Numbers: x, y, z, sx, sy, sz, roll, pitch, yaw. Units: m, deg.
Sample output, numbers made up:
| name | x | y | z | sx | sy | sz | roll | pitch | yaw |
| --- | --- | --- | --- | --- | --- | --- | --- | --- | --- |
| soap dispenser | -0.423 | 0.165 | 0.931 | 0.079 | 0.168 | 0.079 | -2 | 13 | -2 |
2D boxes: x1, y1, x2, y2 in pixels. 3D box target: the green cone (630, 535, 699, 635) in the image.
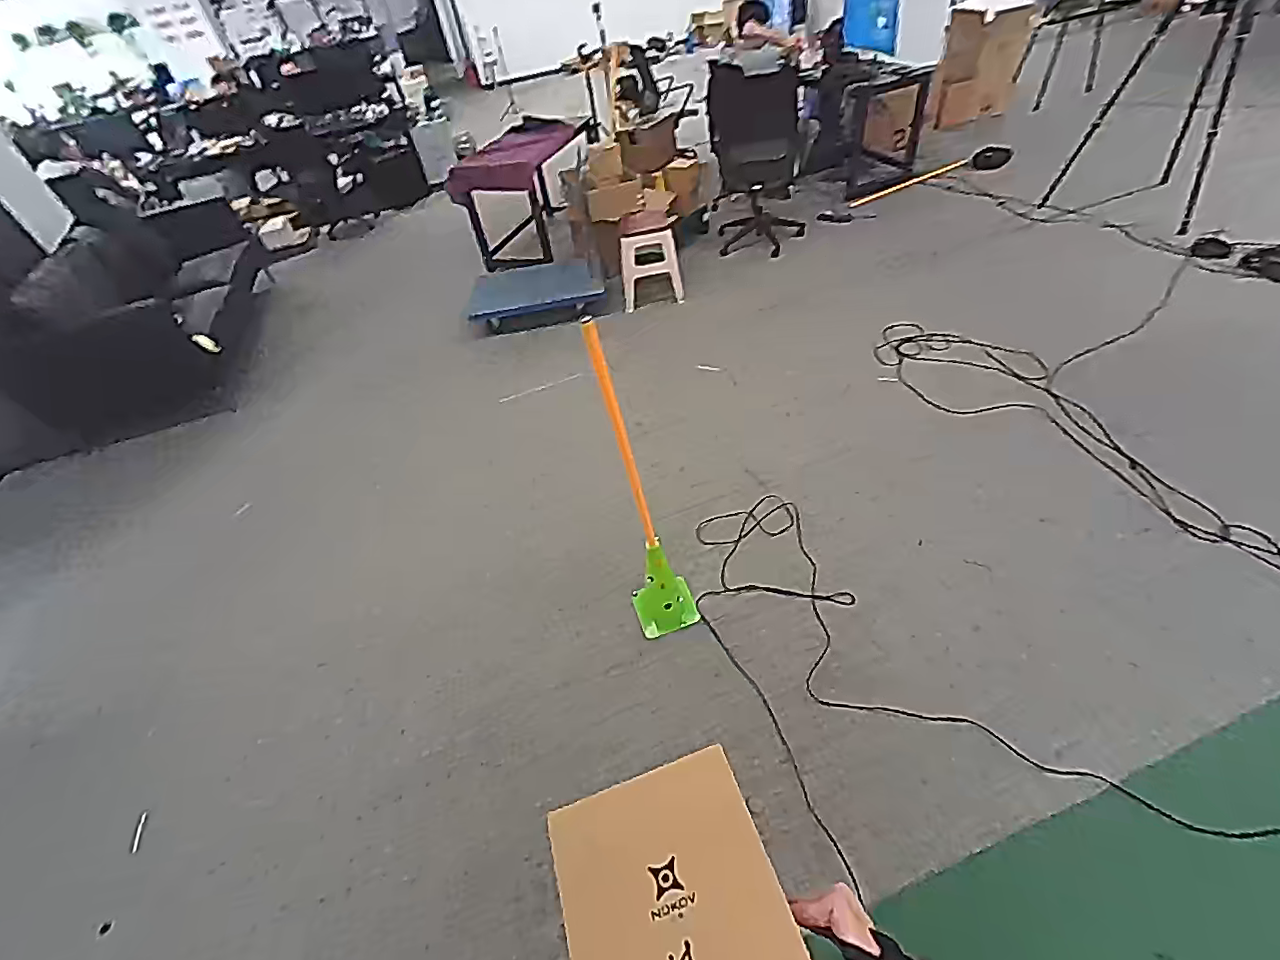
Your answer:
| name | x | y | z | sx | sy | sz | roll | pitch | yaw |
| --- | --- | --- | --- | --- | --- | --- | --- | --- | --- |
| green cone | 0.062 | 0.309 | 1.747 | 0.202 | 0.368 | 0.200 | -18 | 45 | -9 |
